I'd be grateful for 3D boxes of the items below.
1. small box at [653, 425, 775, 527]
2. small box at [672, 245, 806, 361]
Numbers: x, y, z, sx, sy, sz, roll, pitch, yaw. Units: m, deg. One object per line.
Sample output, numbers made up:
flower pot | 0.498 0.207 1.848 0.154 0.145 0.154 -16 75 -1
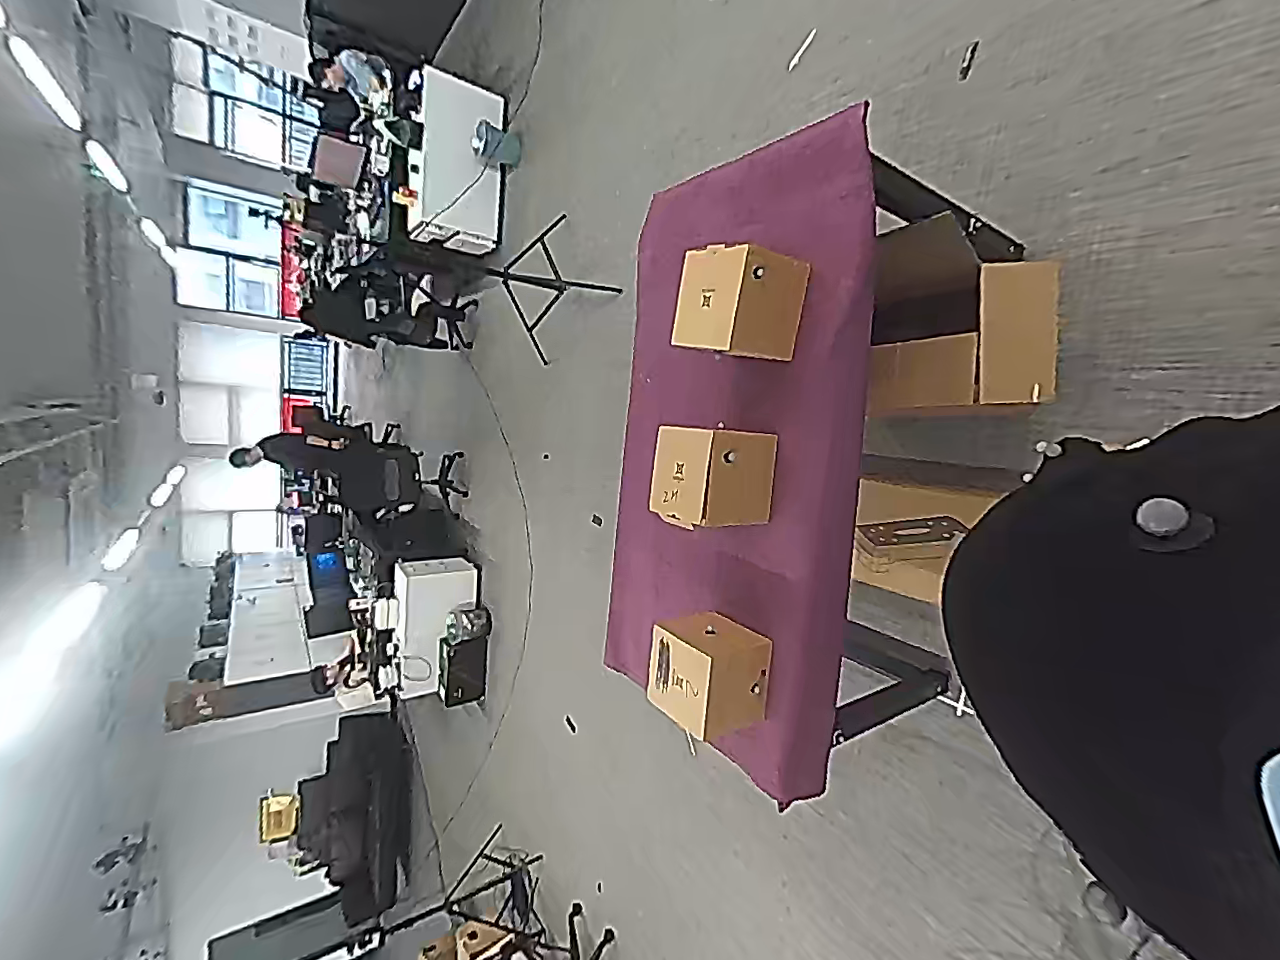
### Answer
small box | 0.146 -0.012 1.064 0.168 0.176 0.179 14 101 56
small box | 0.185 -0.323 1.010 0.168 0.176 0.179 24 110 52
